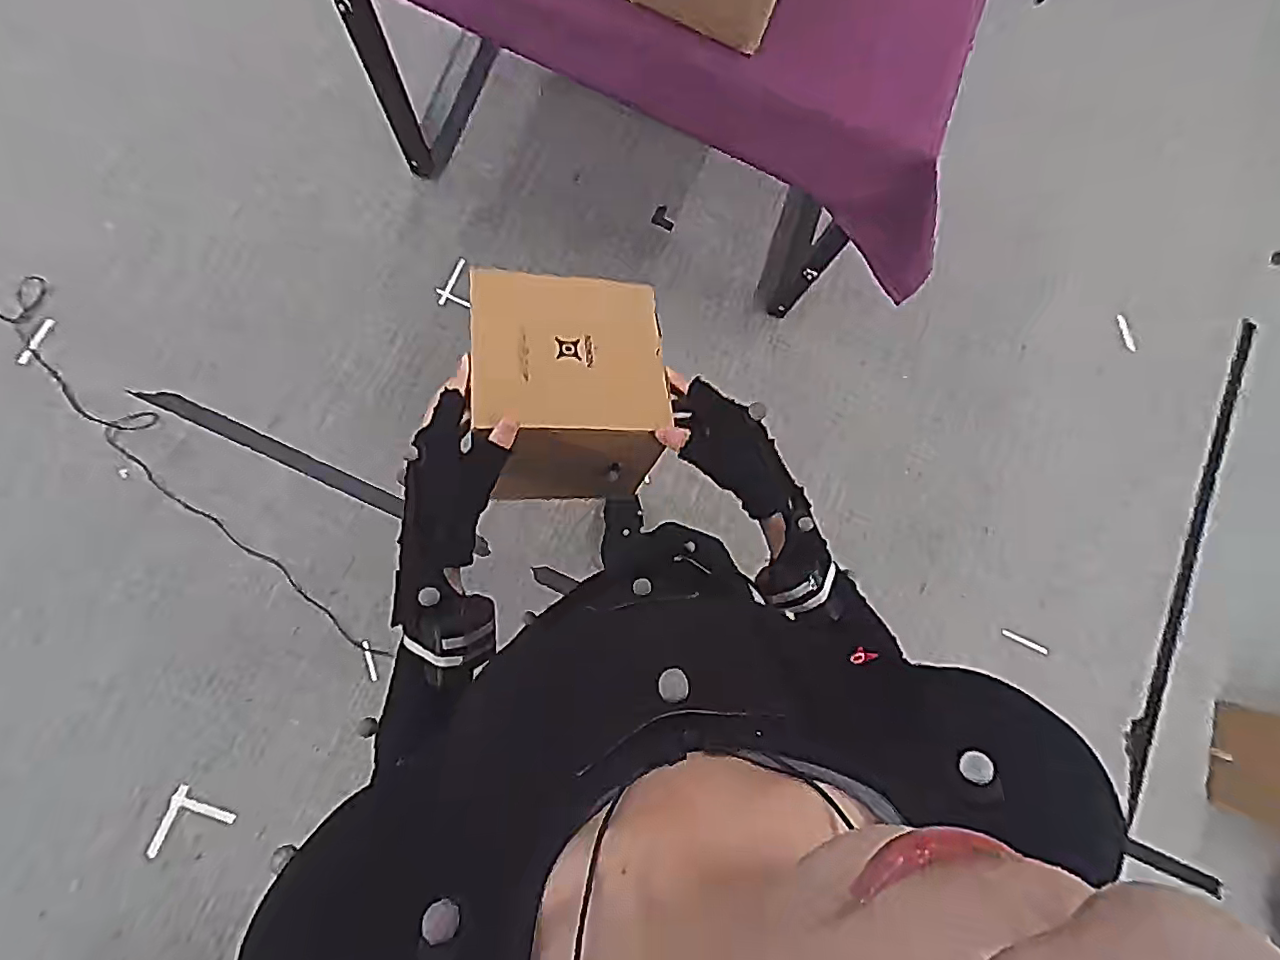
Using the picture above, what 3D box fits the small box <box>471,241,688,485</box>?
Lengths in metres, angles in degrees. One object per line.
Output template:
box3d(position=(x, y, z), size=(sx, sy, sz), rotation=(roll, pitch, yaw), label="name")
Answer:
box3d(position=(-0.072, -0.100, 0.527), size=(0.179, 0.176, 0.168), rotation=(-2, 69, -16), label="small box")
